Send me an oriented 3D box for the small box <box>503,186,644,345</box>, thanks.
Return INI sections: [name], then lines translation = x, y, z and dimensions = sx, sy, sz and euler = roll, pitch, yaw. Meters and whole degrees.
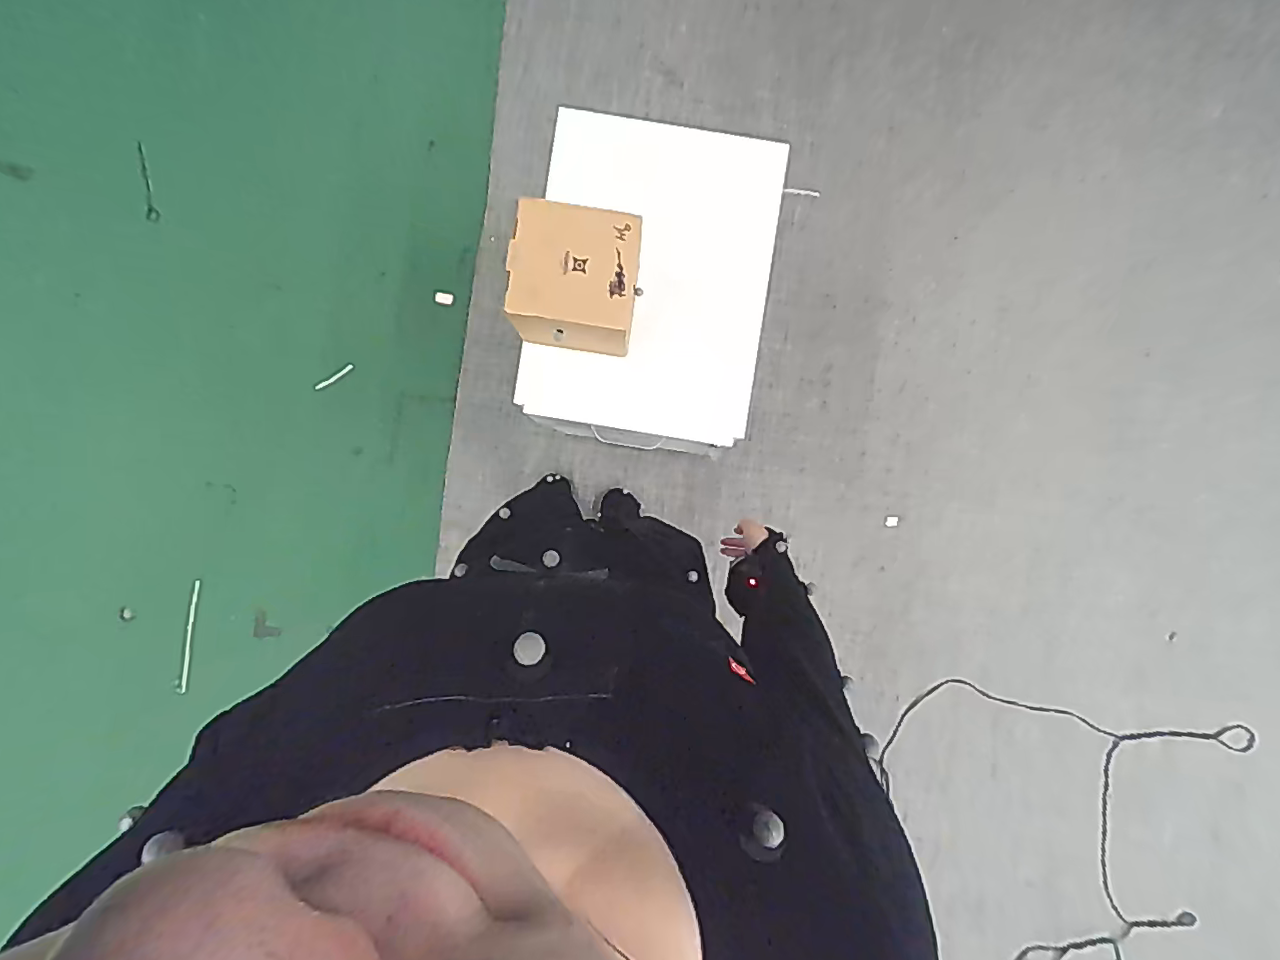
[small box]
translation = -0.092, -0.312, 0.821
dimensions = 0.179, 0.176, 0.168
euler = 8, 92, -1
